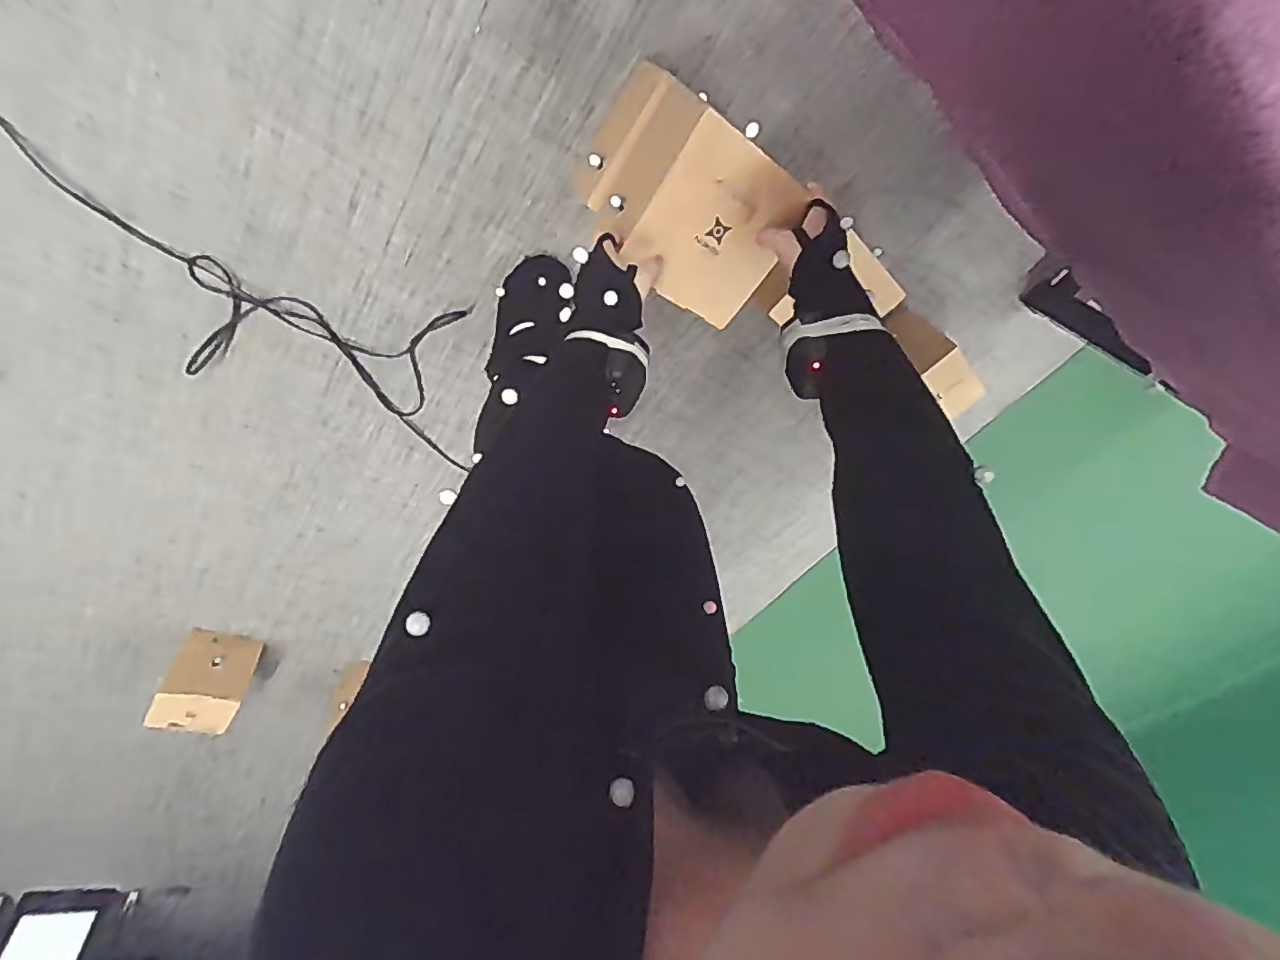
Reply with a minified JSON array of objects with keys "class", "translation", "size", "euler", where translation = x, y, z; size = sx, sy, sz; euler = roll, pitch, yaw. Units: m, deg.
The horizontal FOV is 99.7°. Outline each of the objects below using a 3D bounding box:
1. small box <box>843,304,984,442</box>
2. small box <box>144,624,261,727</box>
[{"class":"small box","translation":[0.541,-0.216,1.095],"size":[0.168,0.176,0.179],"euler":[32,118,-35]},{"class":"small box","translation":[-1.077,0.485,1.345],"size":[0.168,0.176,0.179],"euler":[26,121,-31]}]
